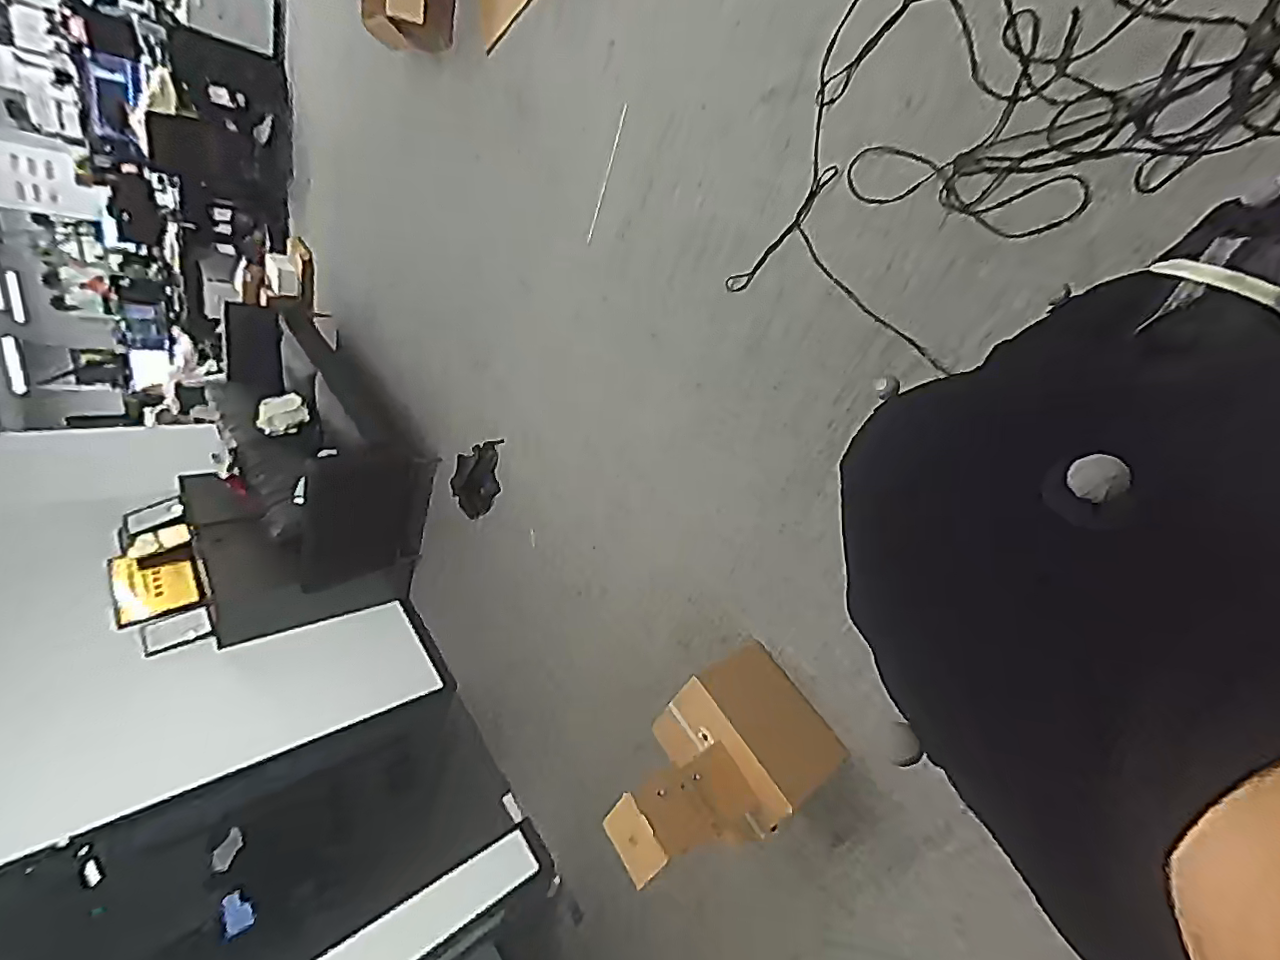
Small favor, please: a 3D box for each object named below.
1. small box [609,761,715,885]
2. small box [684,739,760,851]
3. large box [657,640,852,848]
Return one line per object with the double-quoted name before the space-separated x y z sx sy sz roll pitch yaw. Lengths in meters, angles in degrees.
"small box" 0.058 0.825 1.317 0.168 0.176 0.179 48 130 32
"small box" 0.181 0.824 1.423 0.179 0.176 0.168 55 132 25
"large box" 0.332 0.764 1.609 0.408 0.320 0.320 50 128 30
